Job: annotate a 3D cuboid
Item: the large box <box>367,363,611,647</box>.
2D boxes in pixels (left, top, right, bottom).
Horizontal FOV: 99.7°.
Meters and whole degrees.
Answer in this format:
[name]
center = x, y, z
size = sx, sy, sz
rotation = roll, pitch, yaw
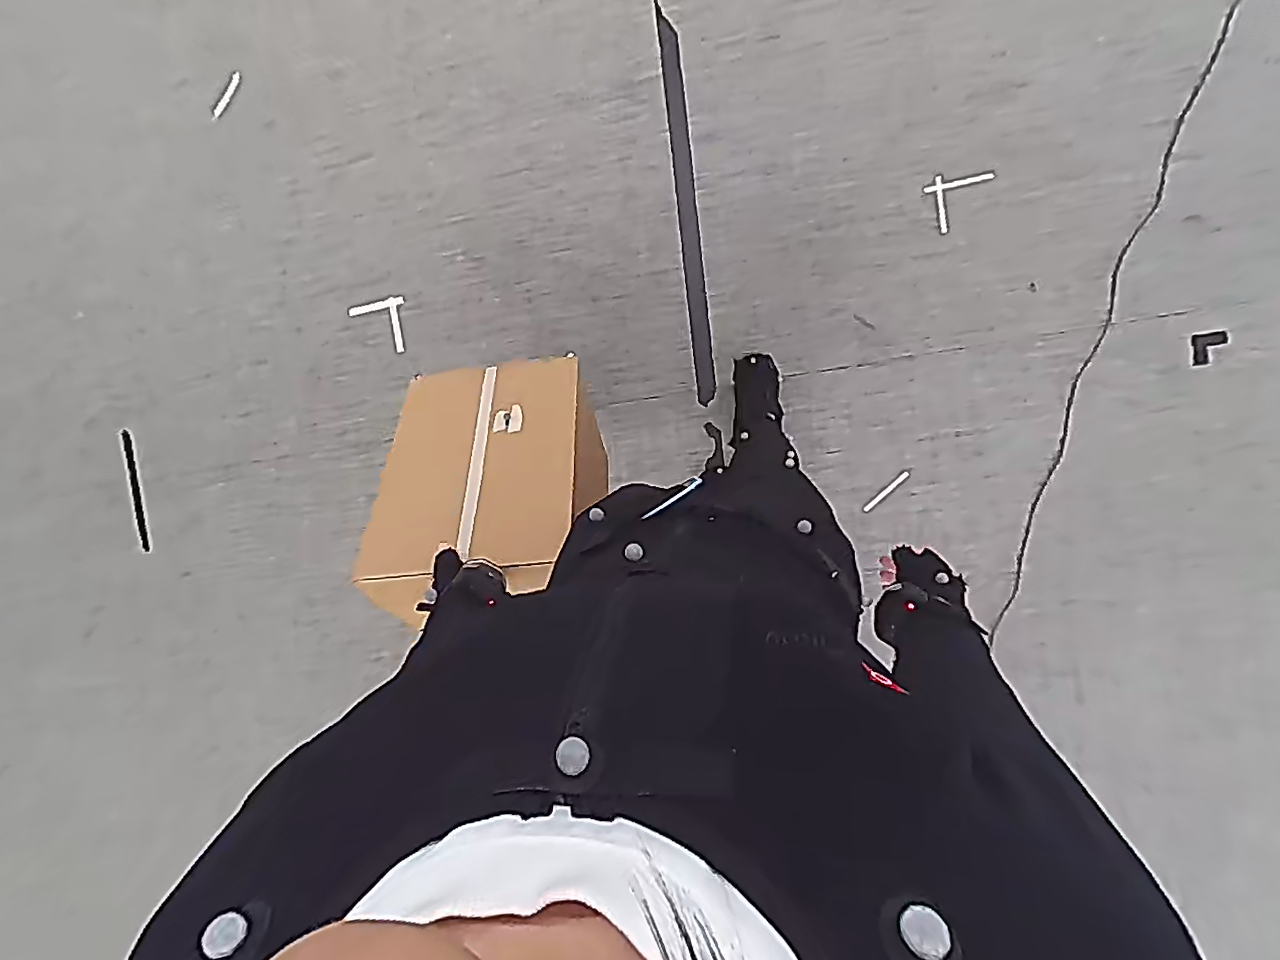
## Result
[large box]
center = -0.232, 0.051, 0.992
size = 0.320, 0.320, 0.408
rotation = -5, 54, 4
